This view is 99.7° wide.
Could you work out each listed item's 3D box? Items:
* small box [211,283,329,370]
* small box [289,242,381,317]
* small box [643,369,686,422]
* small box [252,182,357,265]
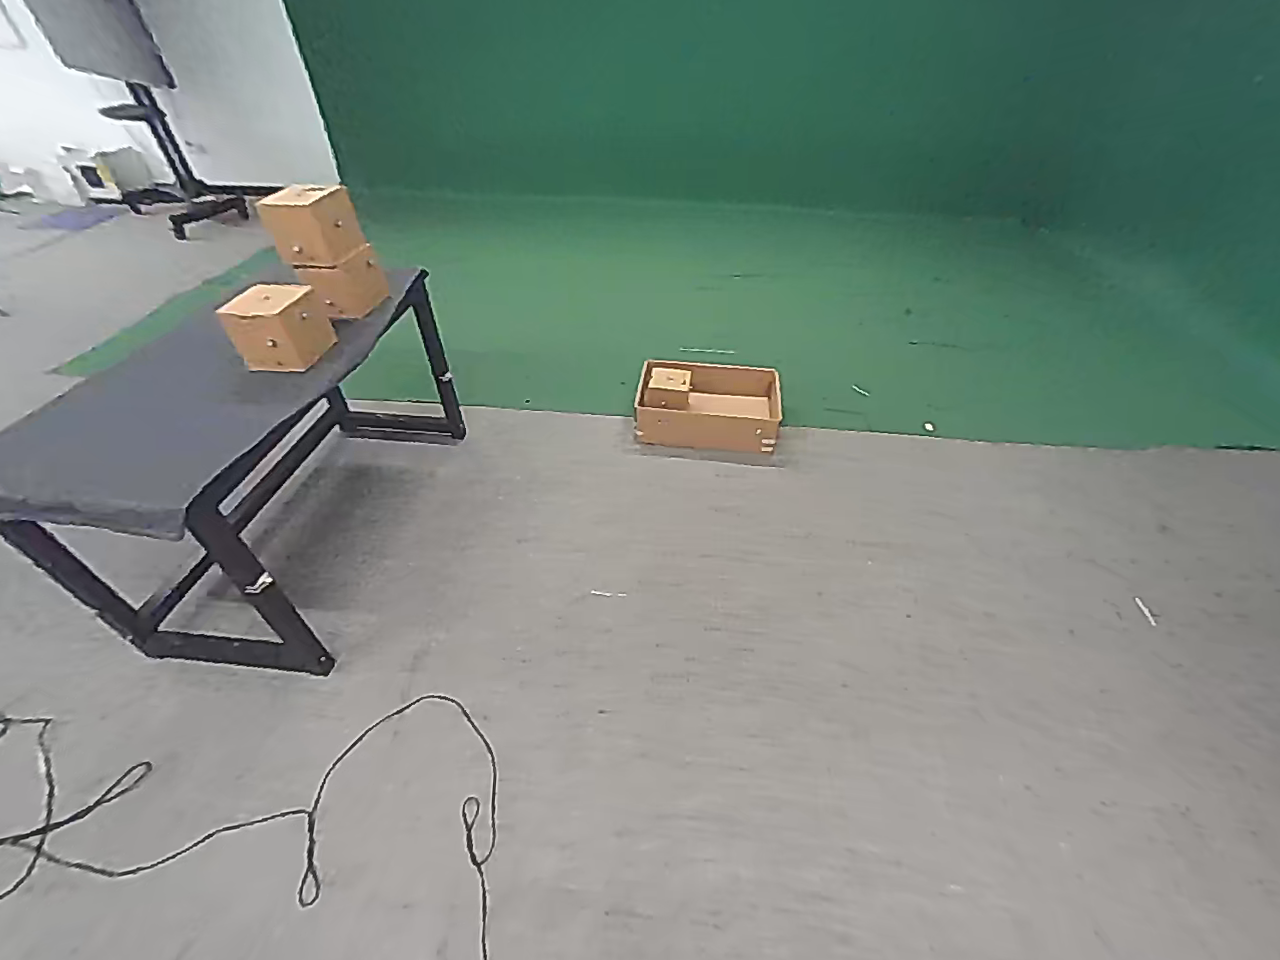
[{"bbox_3d":[-0.971,-0.409,1.442,0.168,0.176,0.179,4,42,4],"label":"small box"},{"bbox_3d":[-0.930,-0.624,1.669,0.168,0.176,0.179,6,44,9],"label":"small box"},{"bbox_3d":[0.108,-0.379,2.430,0.179,0.176,0.168,6,44,6],"label":"small box"},{"bbox_3d":[-0.945,-0.735,1.548,0.168,0.176,0.179,6,45,8],"label":"small box"}]
